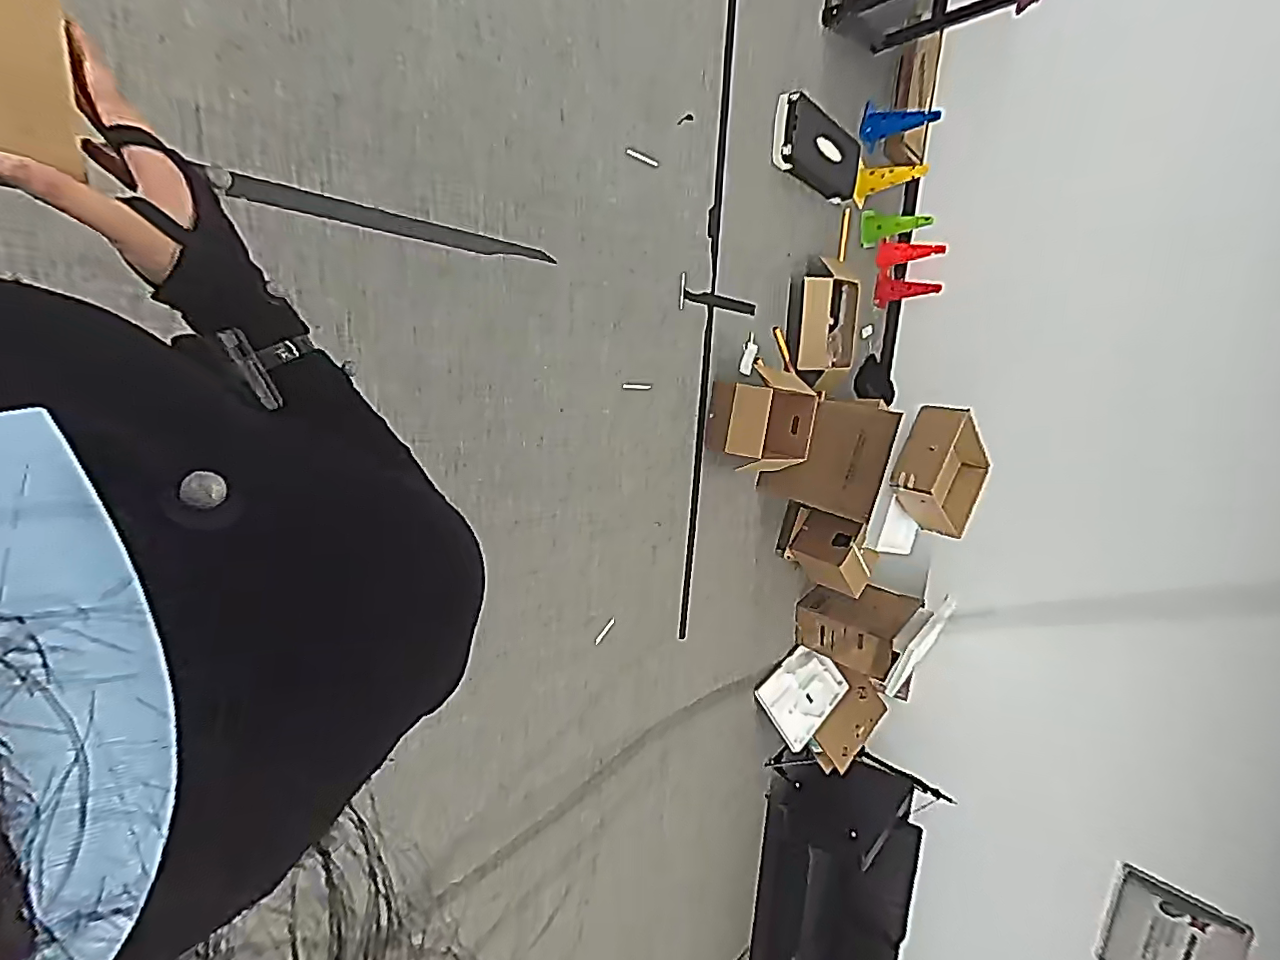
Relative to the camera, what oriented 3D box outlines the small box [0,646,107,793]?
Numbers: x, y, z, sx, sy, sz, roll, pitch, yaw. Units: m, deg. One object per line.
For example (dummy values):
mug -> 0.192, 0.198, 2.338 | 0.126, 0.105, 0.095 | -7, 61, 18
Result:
small box -> -1.150, 0.451, 1.037 | 0.168, 0.176, 0.179 | -11, 108, -45
